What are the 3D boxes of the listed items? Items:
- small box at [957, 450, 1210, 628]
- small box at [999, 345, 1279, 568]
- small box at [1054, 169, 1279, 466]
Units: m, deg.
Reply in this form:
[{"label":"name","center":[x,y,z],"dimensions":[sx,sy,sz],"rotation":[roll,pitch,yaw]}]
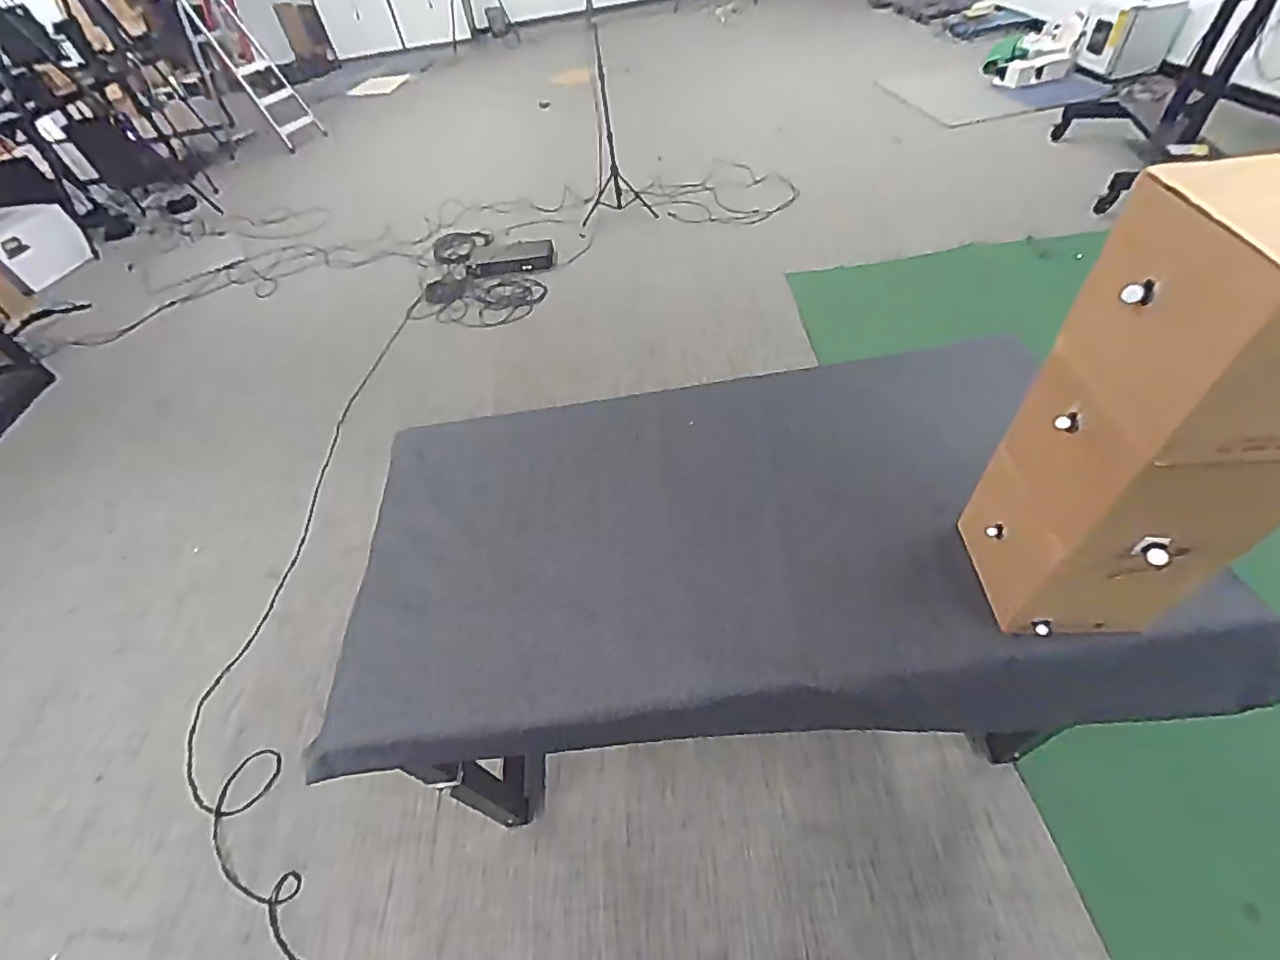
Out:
[{"label":"small box","center":[0.535,0.076,0.685],"dimensions":[0.168,0.176,0.179],"rotation":[-2,48,7]},{"label":"small box","center":[0.513,-0.026,0.562],"dimensions":[0.168,0.176,0.179],"rotation":[-3,50,8]},{"label":"small box","center":[0.487,-0.131,0.438],"dimensions":[0.168,0.176,0.179],"rotation":[-3,48,8]}]
